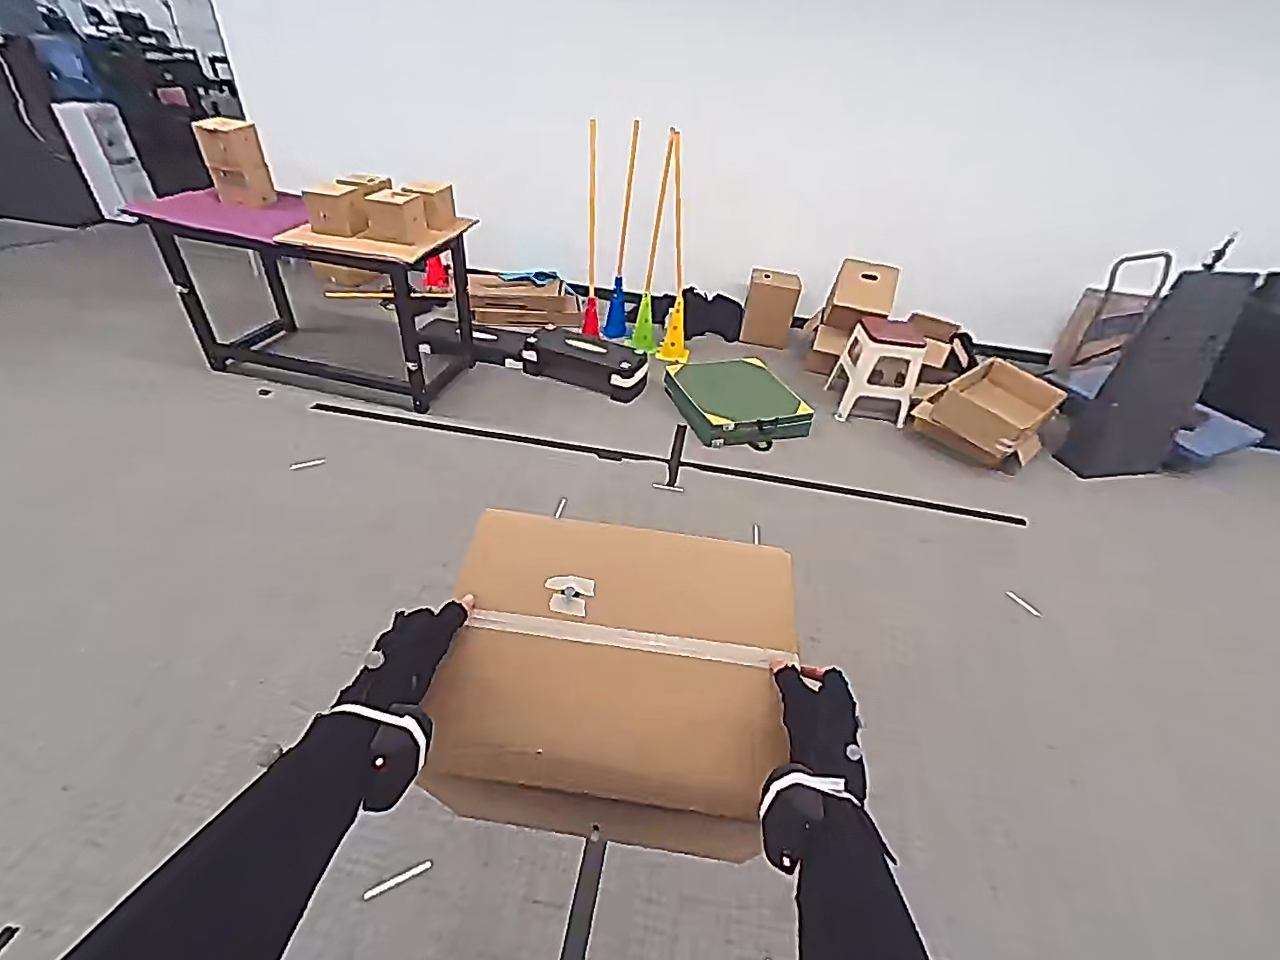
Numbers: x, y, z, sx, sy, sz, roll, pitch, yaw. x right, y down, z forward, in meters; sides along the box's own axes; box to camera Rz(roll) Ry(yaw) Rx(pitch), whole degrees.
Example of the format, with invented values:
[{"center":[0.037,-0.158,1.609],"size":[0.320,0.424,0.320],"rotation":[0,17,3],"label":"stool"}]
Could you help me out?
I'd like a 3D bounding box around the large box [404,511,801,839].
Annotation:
[{"center":[-0.029,0.274,0.740],"size":[0.408,0.320,0.320],"rotation":[7,50,2],"label":"large box"}]
